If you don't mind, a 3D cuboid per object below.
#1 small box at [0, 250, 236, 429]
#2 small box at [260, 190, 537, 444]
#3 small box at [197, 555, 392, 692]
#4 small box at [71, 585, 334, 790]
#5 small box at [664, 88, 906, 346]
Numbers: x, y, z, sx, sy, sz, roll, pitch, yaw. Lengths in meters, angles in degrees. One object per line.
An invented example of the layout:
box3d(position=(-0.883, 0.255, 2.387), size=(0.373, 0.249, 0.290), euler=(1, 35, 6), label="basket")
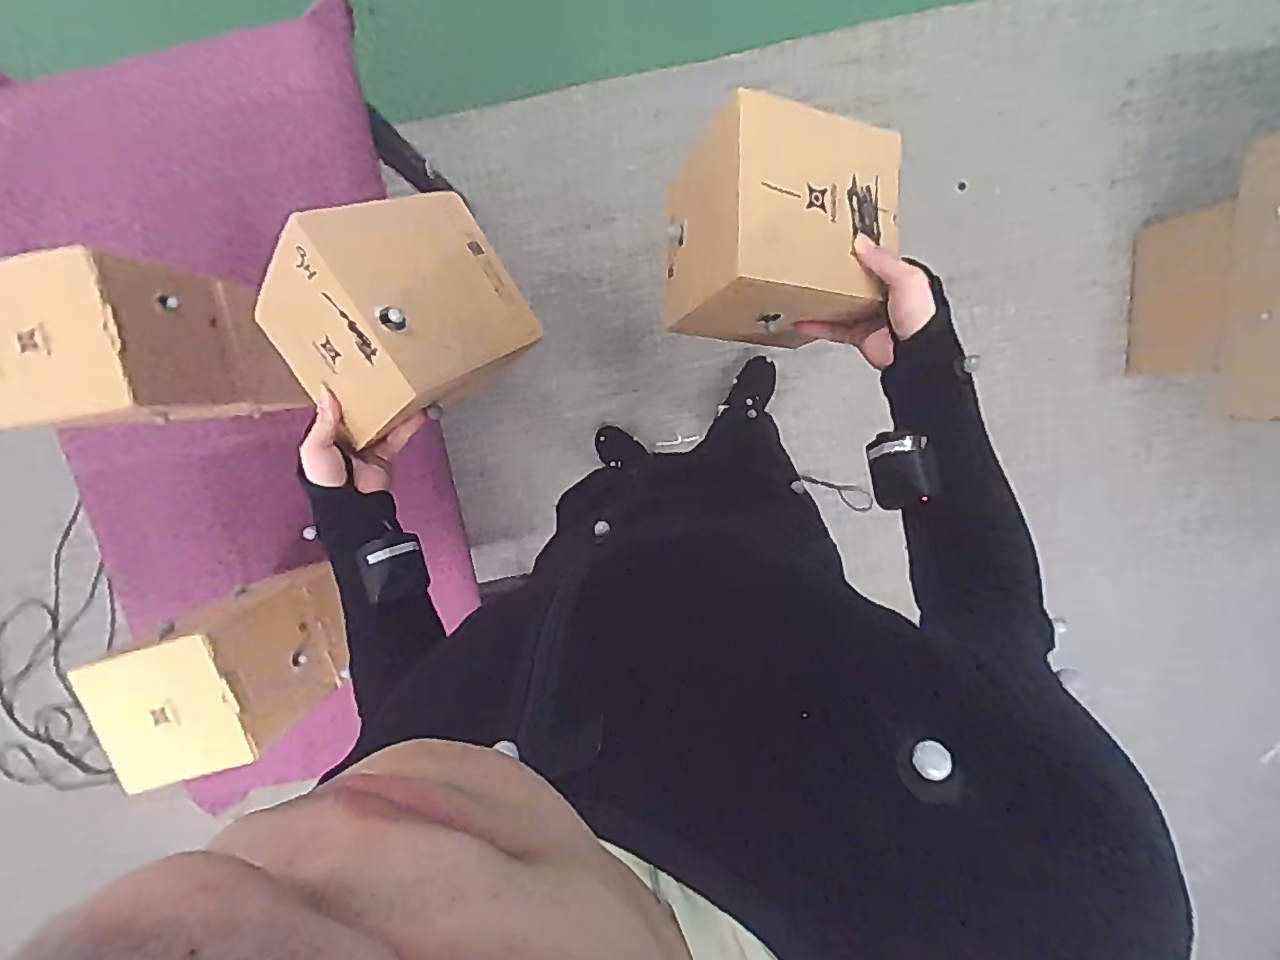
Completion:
box3d(position=(-0.626, -0.157, 0.642), size=(0.179, 0.176, 0.168), euler=(-8, 98, 3), label="small box")
box3d(position=(-0.238, -0.163, 0.550), size=(0.179, 0.176, 0.168), euler=(-21, 105, 44), label="small box")
box3d(position=(-0.539, 0.235, 0.866), size=(0.179, 0.176, 0.168), euler=(-15, 98, 4), label="small box")
box3d(position=(-0.549, 0.257, 0.705), size=(0.179, 0.176, 0.168), euler=(-17, 97, 4), label="small box")
box3d(position=(0.139, -0.244, 0.555), size=(0.179, 0.176, 0.168), euler=(3, 87, -18), label="small box")
